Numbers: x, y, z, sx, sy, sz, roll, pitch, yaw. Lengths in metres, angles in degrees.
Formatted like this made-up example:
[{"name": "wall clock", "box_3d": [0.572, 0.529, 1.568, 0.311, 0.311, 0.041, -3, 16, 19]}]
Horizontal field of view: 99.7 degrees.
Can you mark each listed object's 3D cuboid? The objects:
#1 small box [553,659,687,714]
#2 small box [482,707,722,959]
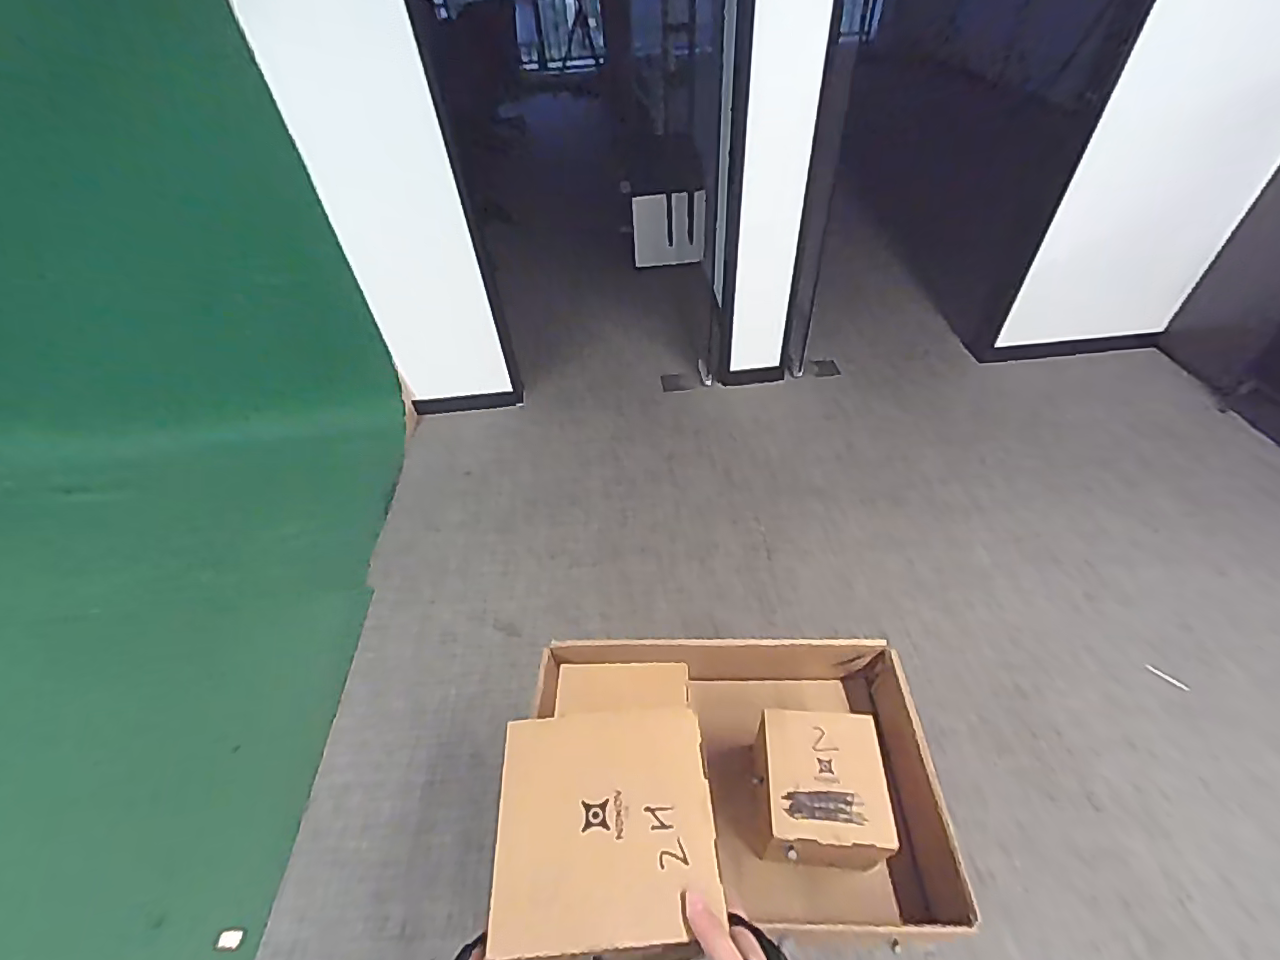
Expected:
[{"name": "small box", "box_3d": [-0.023, 0.361, 0.742, 0.179, 0.176, 0.168, 0, 47, 2]}, {"name": "small box", "box_3d": [-0.033, 0.328, 0.498, 0.179, 0.176, 0.168, -1, 46, -5]}]
